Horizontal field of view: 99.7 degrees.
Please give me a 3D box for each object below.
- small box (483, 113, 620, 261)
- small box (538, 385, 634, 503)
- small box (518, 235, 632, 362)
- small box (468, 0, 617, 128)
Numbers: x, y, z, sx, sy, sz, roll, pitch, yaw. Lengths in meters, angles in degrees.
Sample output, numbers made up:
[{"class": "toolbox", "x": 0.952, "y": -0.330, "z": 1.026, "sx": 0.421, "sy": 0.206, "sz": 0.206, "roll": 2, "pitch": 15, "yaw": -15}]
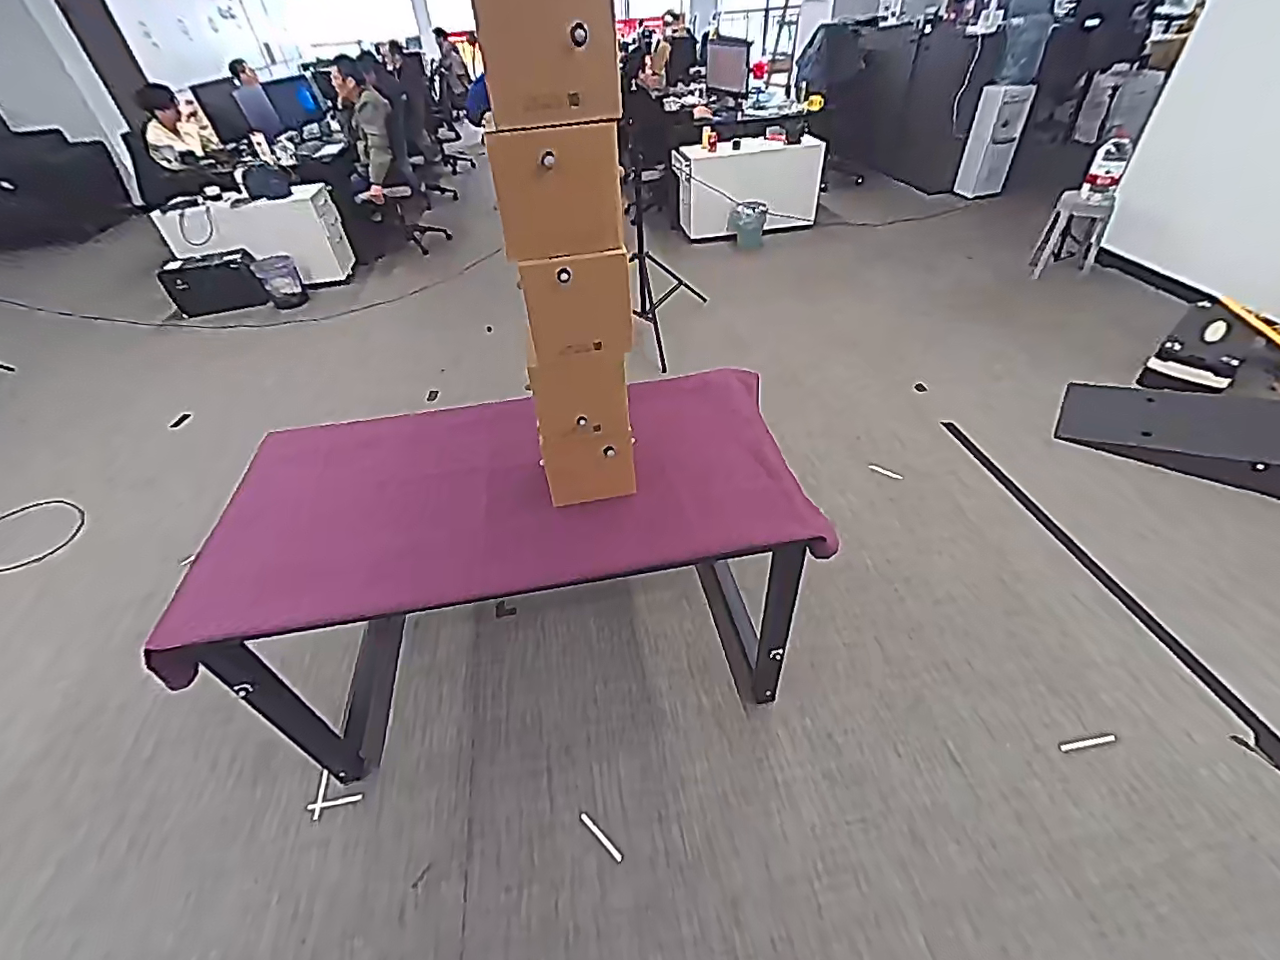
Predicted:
[{"class": "small box", "x": -0.128, "y": -0.447, "z": 0.812, "sx": 0.179, "sy": 0.176, "sz": 0.168, "roll": -10, "pitch": 42, "yaw": -6}, {"class": "small box", "x": -0.110, "y": -0.074, "z": 1.129, "sx": 0.179, "sy": 0.176, "sz": 0.168, "roll": -10, "pitch": 42, "yaw": -5}, {"class": "small box", "x": -0.110, "y": -0.320, "z": 0.912, "sx": 0.168, "sy": 0.176, "sz": 0.179, "roll": -10, "pitch": 42, "yaw": -6}, {"class": "small box", "x": -0.129, "y": -0.571, "z": 0.707, "sx": 0.168, "sy": 0.176, "sz": 0.179, "roll": -10, "pitch": 41, "yaw": -8}]
